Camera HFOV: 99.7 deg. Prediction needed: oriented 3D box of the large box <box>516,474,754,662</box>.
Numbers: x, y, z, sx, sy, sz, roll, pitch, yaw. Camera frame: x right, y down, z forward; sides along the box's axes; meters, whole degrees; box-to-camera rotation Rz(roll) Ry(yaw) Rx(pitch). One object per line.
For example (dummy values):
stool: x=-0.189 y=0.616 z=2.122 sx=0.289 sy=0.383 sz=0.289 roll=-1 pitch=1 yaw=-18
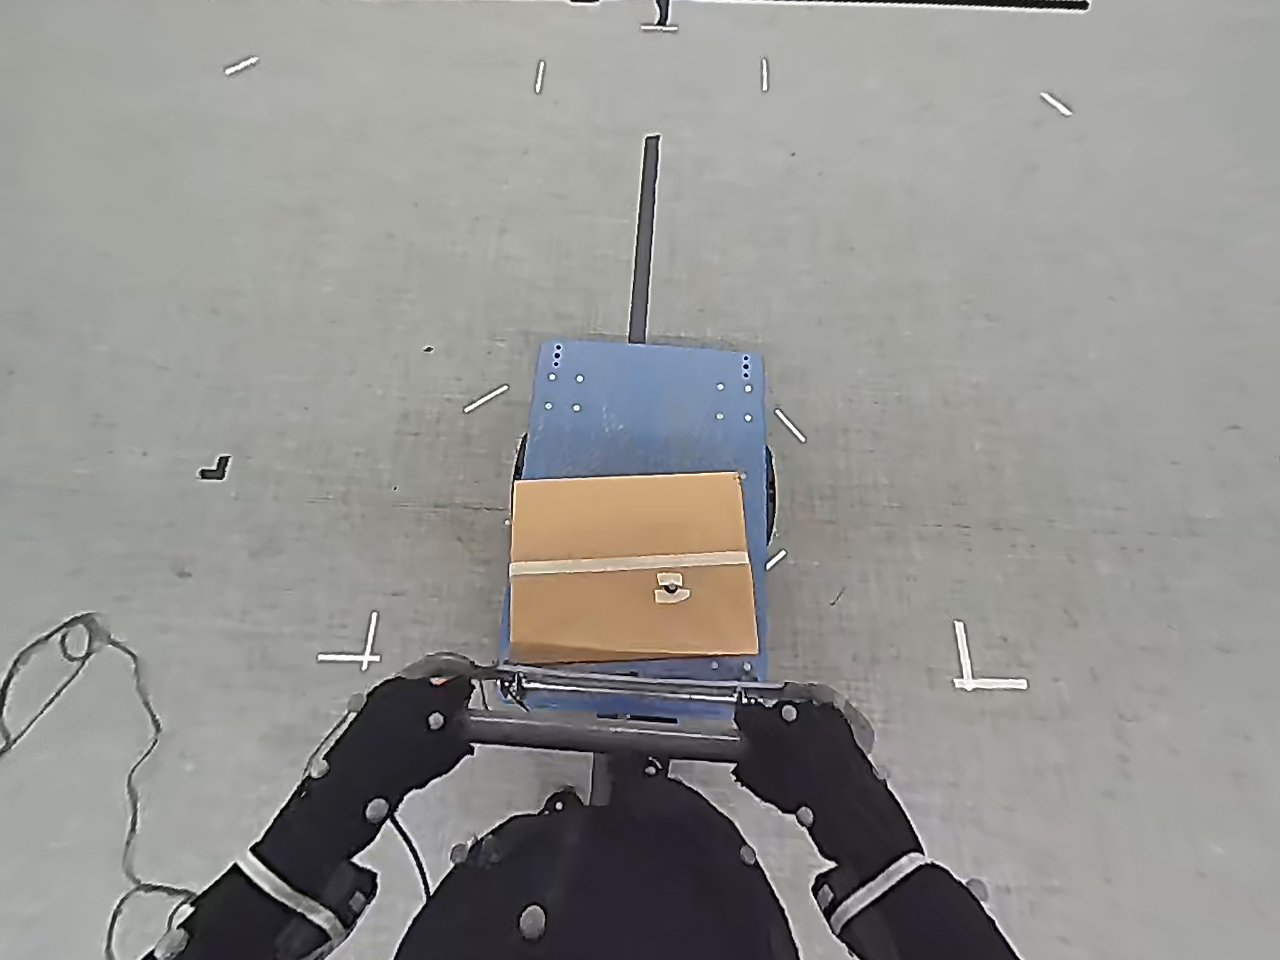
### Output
large box: x=-0.018 y=0.191 z=1.081 sx=0.408 sy=0.320 sz=0.320 roll=-2 pitch=72 yaw=-2
